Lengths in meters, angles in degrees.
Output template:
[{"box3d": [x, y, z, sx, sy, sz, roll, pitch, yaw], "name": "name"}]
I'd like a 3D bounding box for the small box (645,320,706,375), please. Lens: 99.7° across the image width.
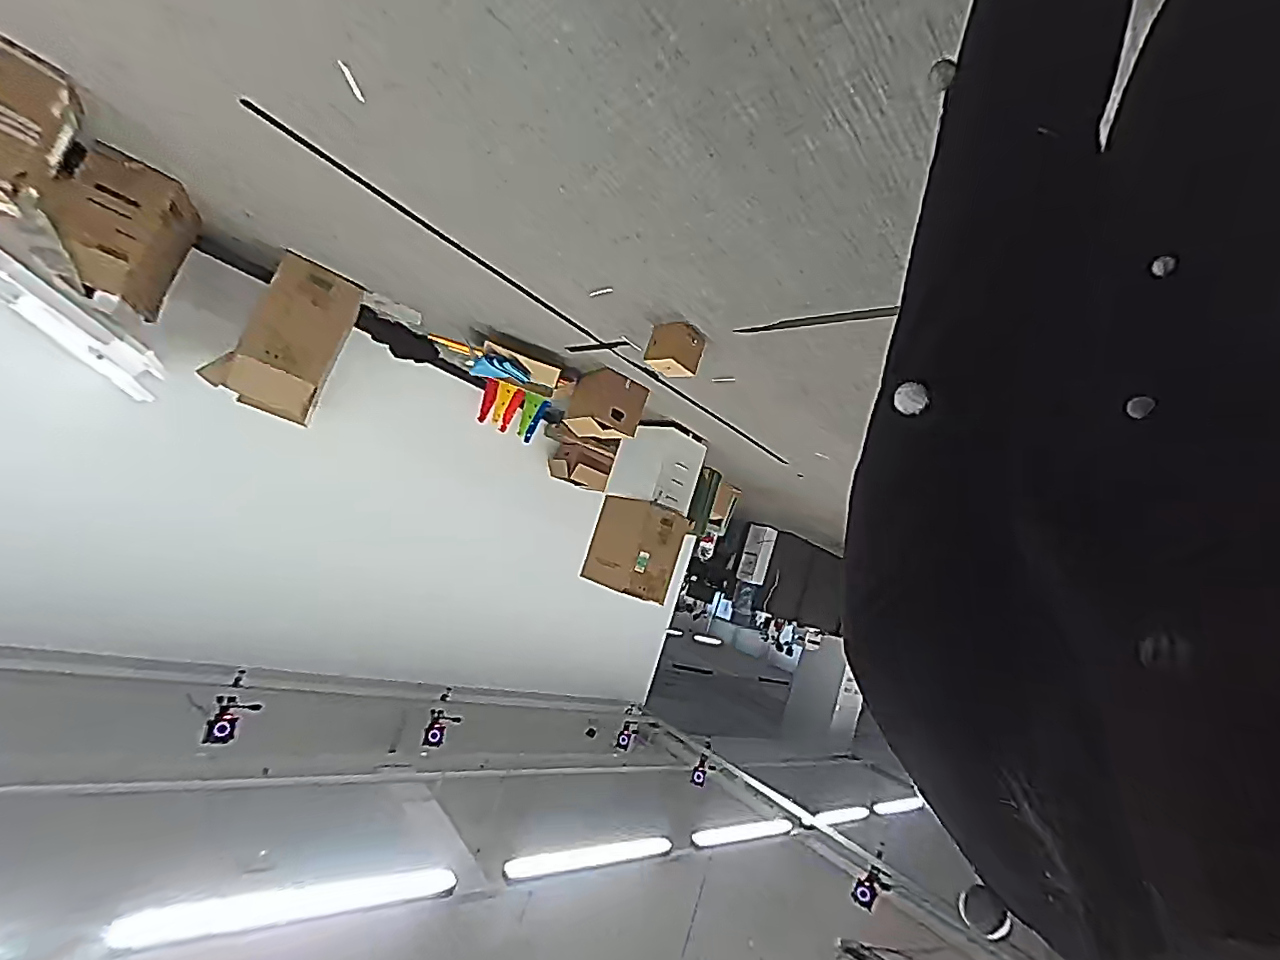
[{"box3d": [0.157, -0.567, 2.320, 0.168, 0.176, 0.179, 24, 170, -40], "name": "small box"}]
